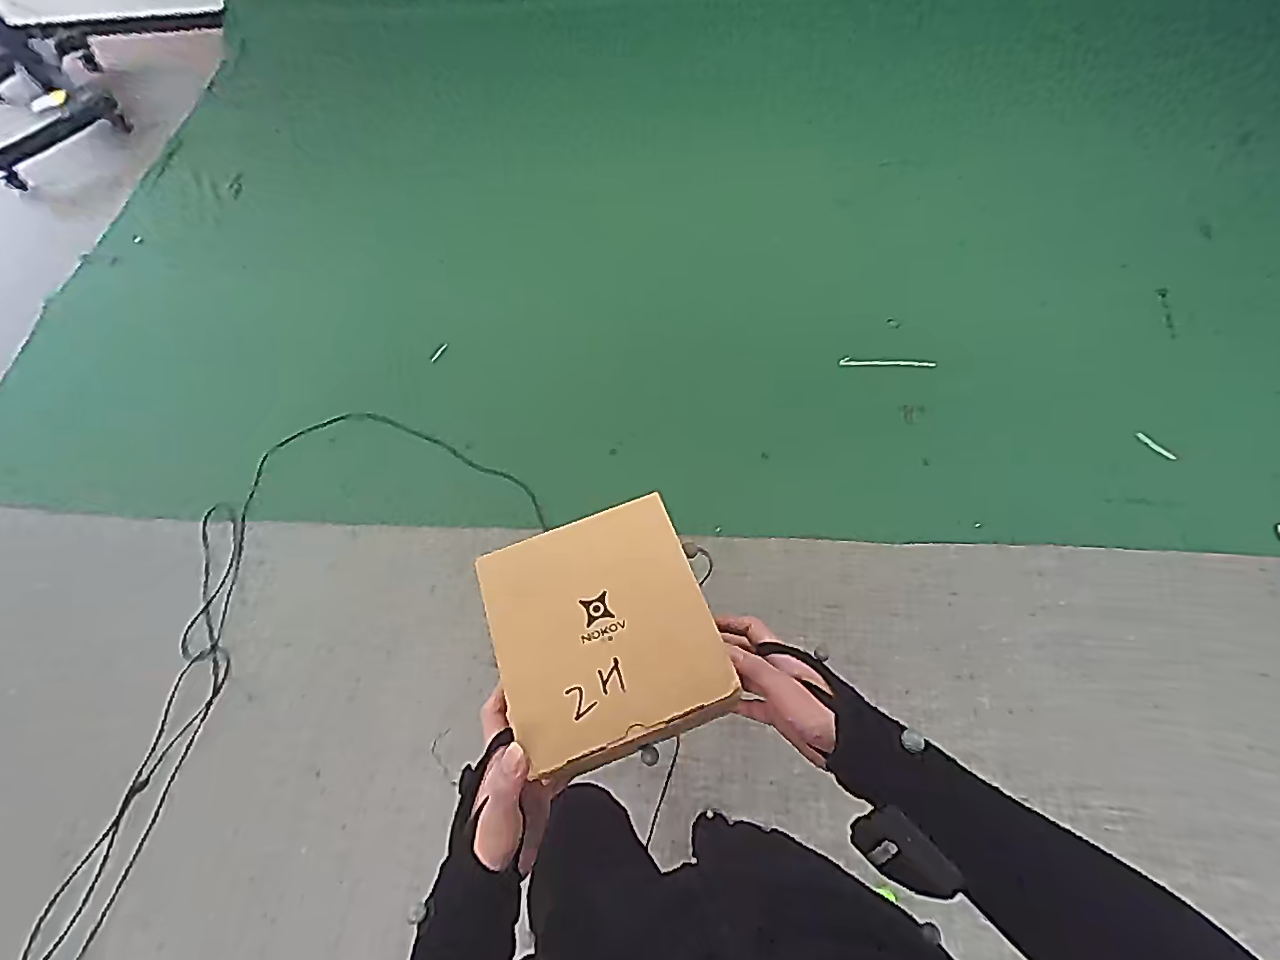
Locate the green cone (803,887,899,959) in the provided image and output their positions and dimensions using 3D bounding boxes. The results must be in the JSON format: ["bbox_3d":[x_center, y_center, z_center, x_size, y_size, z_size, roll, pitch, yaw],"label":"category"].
[{"bbox_3d":[0.457,0.963,1.053,0.202,0.368,0.200,1,64,6],"label":"green cone"}]

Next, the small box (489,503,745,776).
[{"bbox_3d":[-0.020,0.151,0.492,0.168,0.176,0.179,-18,62,-4],"label":"small box"}]
